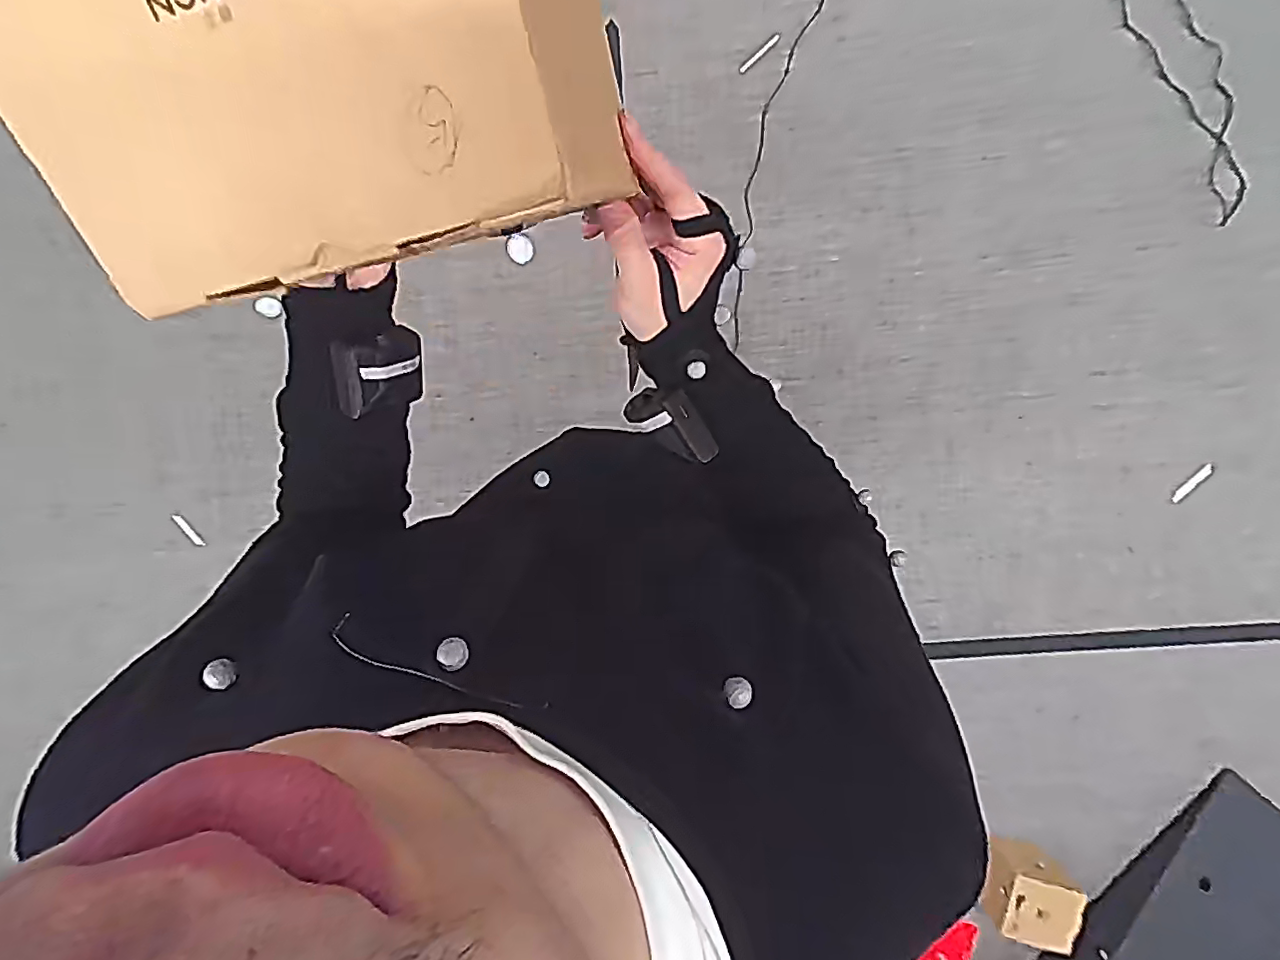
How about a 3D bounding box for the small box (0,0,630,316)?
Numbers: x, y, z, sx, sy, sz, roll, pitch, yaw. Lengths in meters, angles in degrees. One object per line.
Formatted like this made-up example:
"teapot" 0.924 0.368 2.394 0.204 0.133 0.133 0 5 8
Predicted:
"small box" -0.108 -0.188 0.220 0.168 0.176 0.179 -10 117 12
